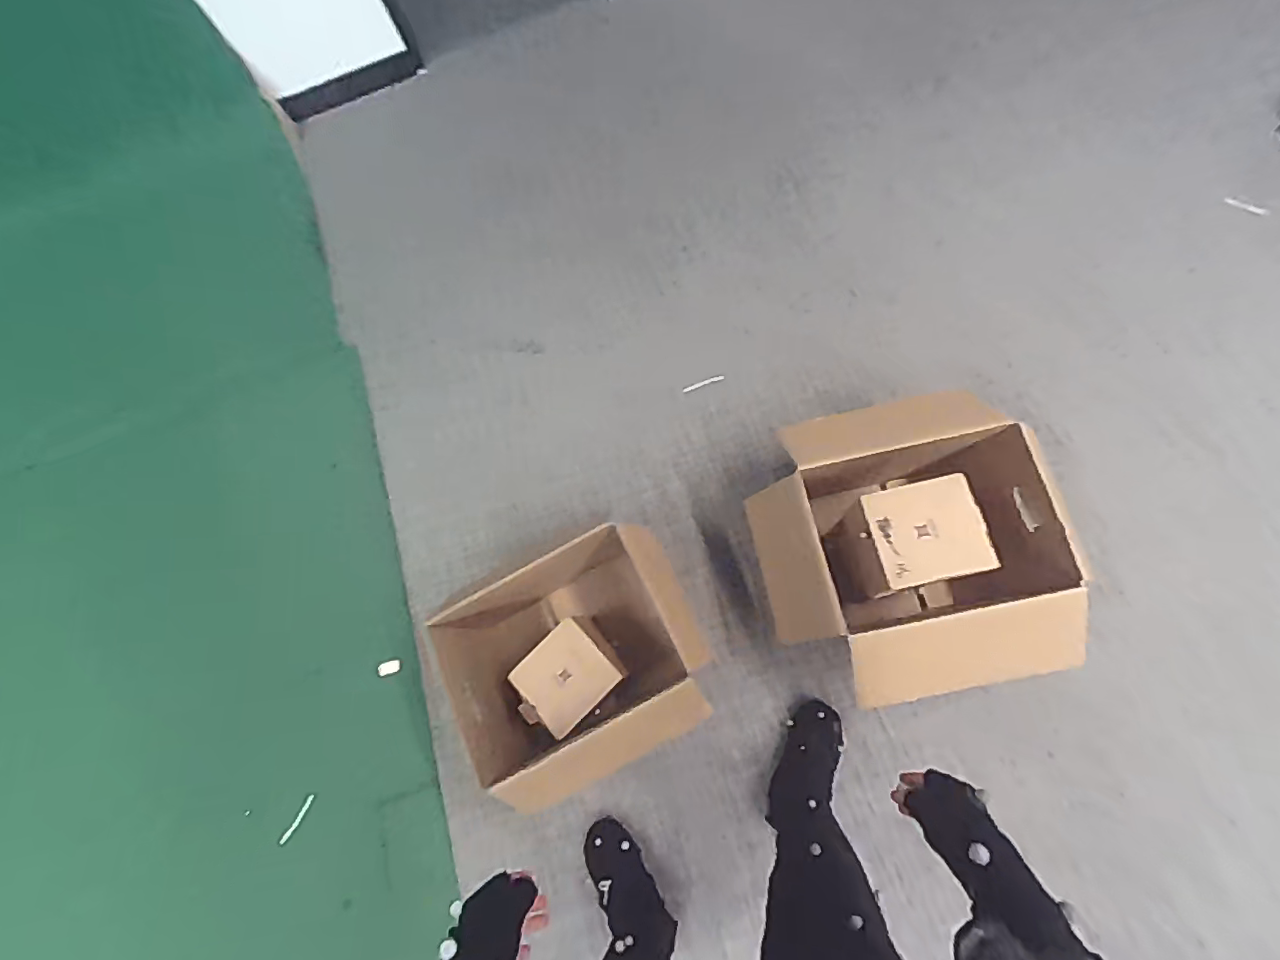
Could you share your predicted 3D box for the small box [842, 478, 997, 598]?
[{"bbox_3d":[0.492,0.112,0.982,0.179,0.176,0.168,-14,72,4],"label":"small box"}]
